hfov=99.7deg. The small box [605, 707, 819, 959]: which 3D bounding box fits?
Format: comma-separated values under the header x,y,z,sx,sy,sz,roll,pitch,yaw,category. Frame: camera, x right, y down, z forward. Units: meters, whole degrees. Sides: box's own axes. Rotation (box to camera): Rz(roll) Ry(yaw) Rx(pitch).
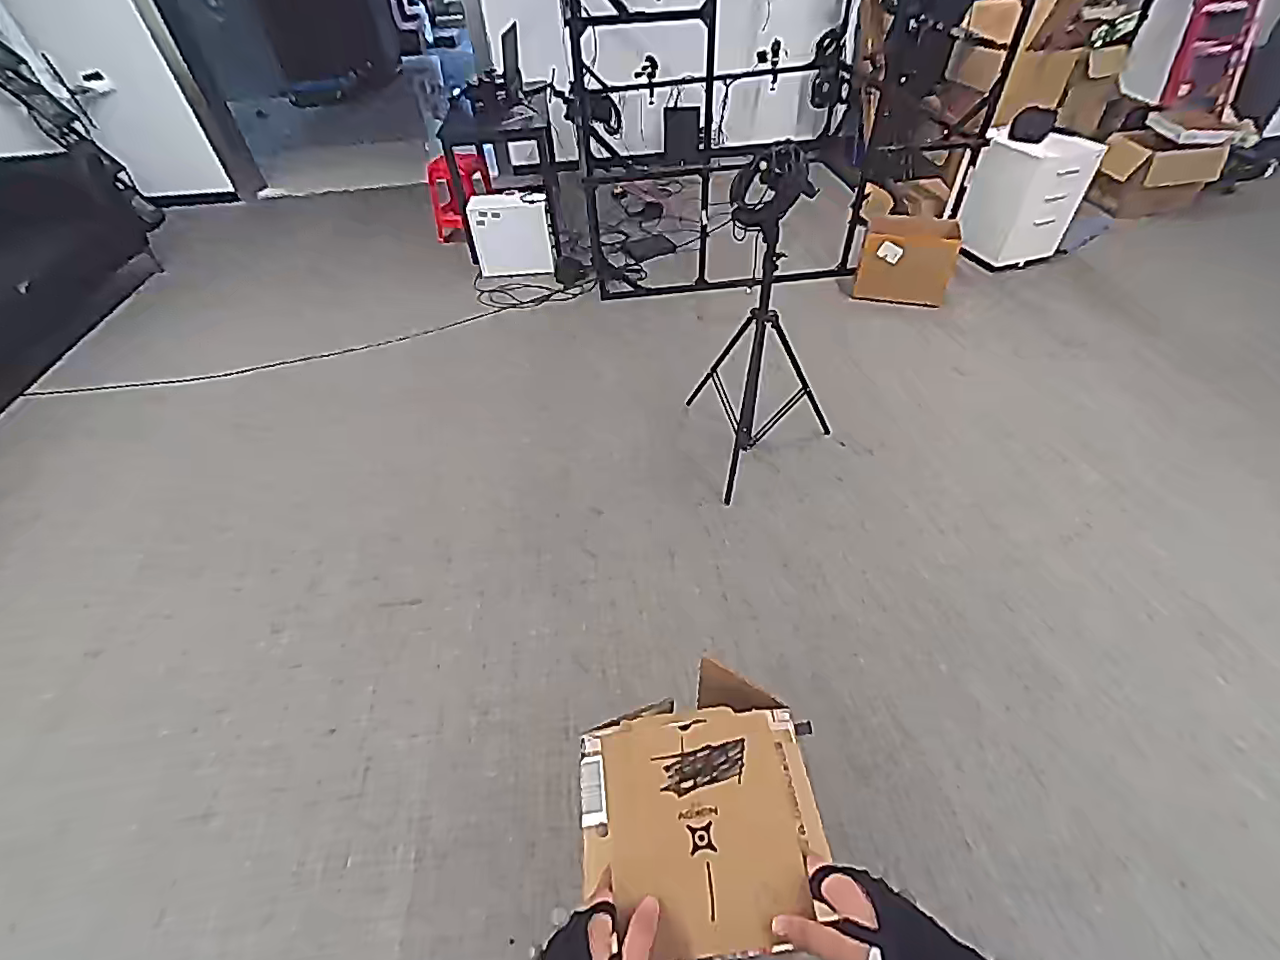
x,y,z,sx,sy,sz,roll,pitch,yaw,category
0.056,0.350,0.545,0.168,0.176,0.179,-7,54,-3,small box
